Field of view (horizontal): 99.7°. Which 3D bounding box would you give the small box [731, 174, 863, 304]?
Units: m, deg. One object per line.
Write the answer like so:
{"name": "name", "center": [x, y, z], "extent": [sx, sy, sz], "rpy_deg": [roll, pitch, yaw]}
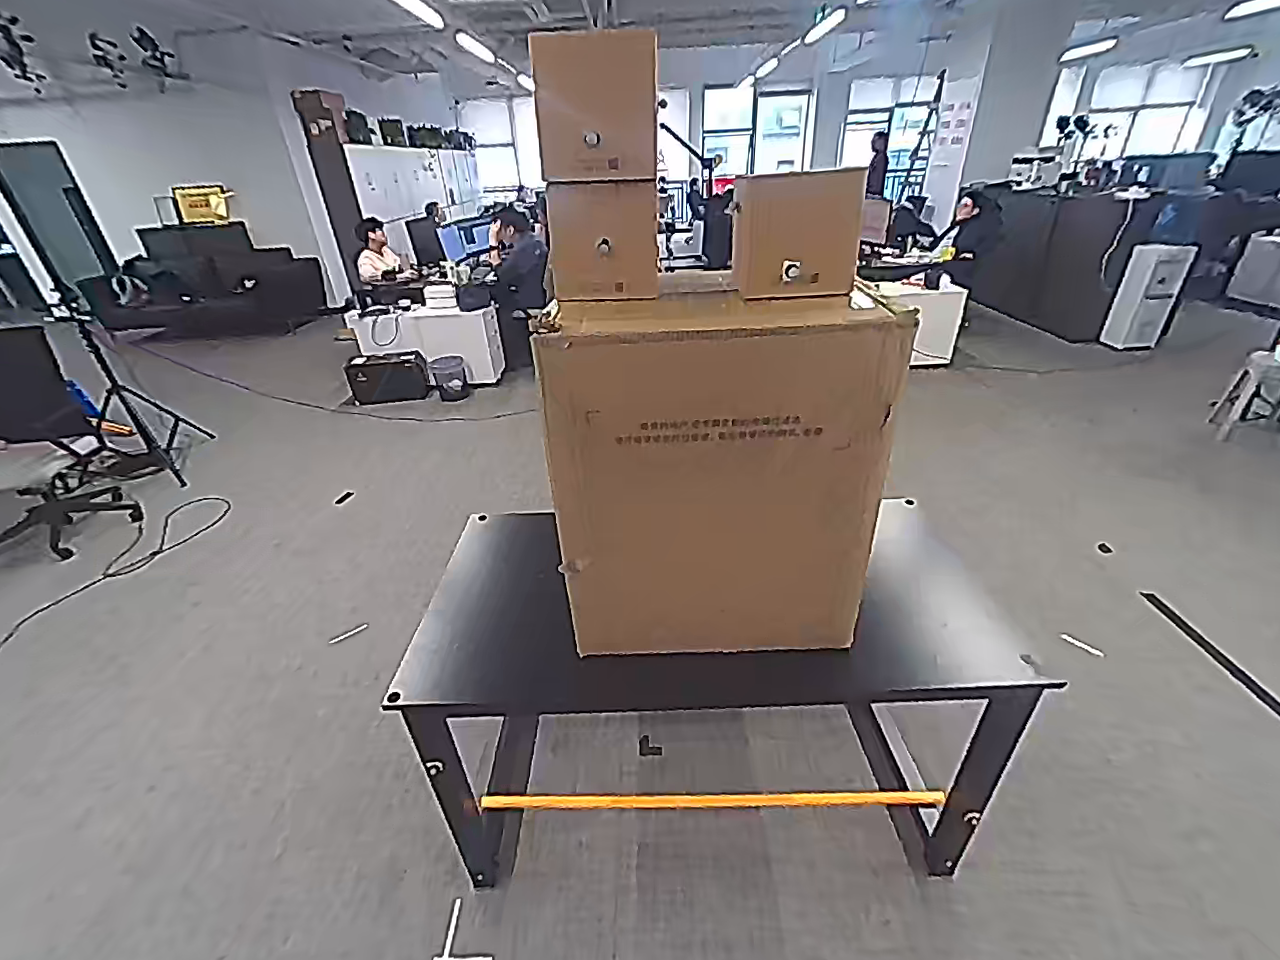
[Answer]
{"name": "small box", "center": [0.236, -0.384, 0.860], "extent": [0.168, 0.176, 0.179], "rpy_deg": [-3, 30, 4]}

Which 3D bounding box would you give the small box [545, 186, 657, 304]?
{"name": "small box", "center": [-0.056, -0.395, 0.902], "extent": [0.168, 0.176, 0.179], "rpy_deg": [-1, 30, 0]}

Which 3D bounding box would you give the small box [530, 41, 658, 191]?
{"name": "small box", "center": [-0.058, -0.530, 0.805], "extent": [0.168, 0.176, 0.179], "rpy_deg": [-1, 30, 2]}
